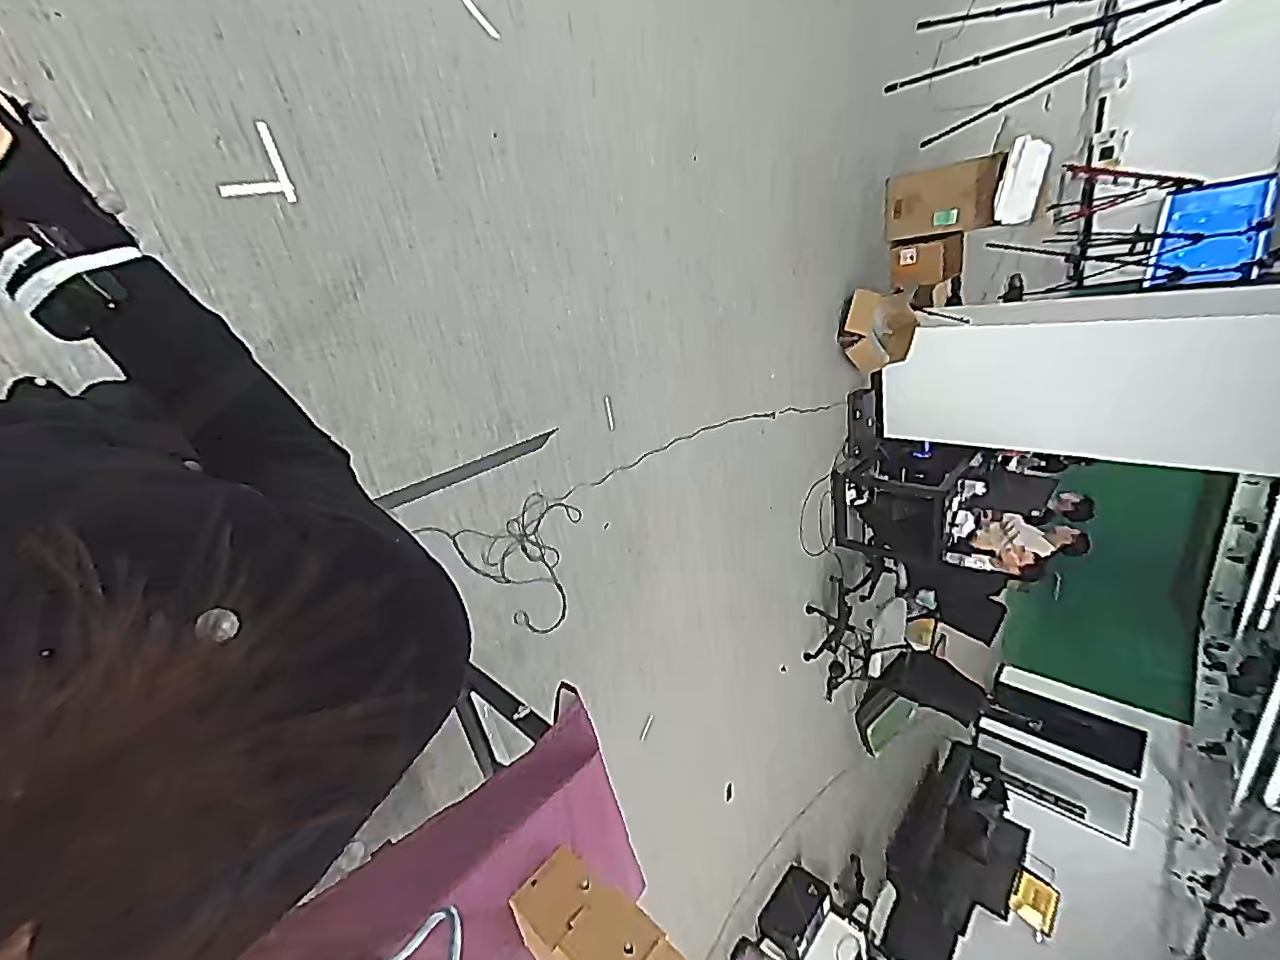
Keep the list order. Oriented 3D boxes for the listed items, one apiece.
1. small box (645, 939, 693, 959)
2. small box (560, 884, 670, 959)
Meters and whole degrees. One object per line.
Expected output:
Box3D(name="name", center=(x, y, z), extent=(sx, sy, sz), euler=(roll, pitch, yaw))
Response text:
Box3D(name="small box", center=(0.065, 1.061, 1.056), extent=(0.168, 0.176, 0.179), euler=(-29, 119, -39))
Box3D(name="small box", center=(-0.049, 1.041, 1.171), extent=(0.179, 0.176, 0.168), euler=(-20, 112, -42))
